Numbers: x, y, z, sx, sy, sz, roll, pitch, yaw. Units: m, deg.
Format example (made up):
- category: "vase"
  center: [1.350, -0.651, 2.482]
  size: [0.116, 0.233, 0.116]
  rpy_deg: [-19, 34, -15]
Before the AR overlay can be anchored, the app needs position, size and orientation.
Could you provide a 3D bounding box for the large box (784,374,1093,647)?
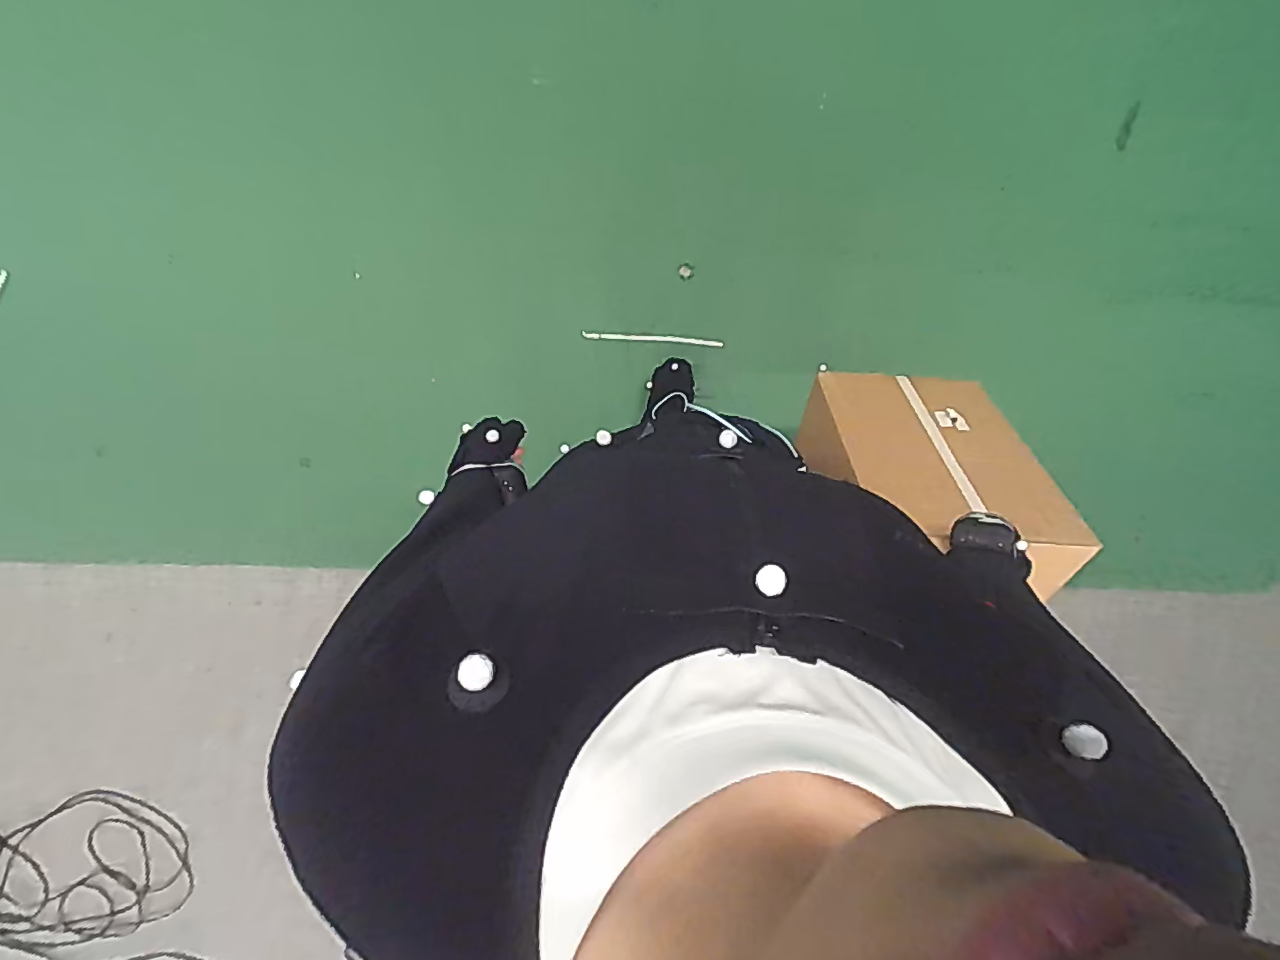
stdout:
- category: "large box"
  center: [0.477, 0.050, 0.991]
  size: [0.320, 0.408, 0.320]
  rpy_deg: [4, 133, -1]
